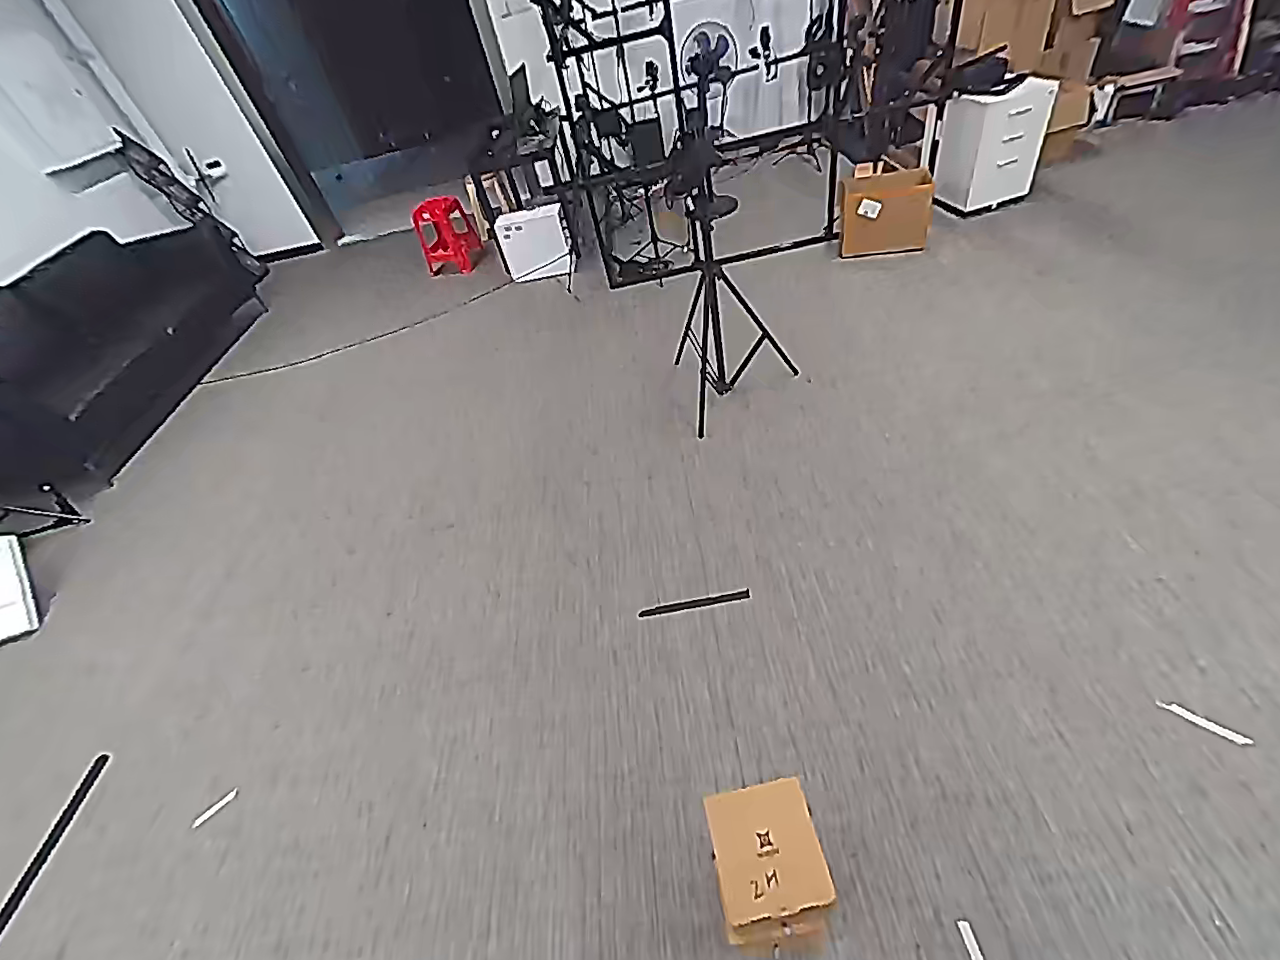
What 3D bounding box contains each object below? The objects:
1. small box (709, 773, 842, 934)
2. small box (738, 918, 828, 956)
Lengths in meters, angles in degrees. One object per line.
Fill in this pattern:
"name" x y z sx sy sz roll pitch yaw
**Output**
"small box" 0.220 0.627 0.907 0.168 0.176 0.179 -15 45 2
"small box" 0.279 0.863 1.129 0.168 0.176 0.179 -12 44 4
